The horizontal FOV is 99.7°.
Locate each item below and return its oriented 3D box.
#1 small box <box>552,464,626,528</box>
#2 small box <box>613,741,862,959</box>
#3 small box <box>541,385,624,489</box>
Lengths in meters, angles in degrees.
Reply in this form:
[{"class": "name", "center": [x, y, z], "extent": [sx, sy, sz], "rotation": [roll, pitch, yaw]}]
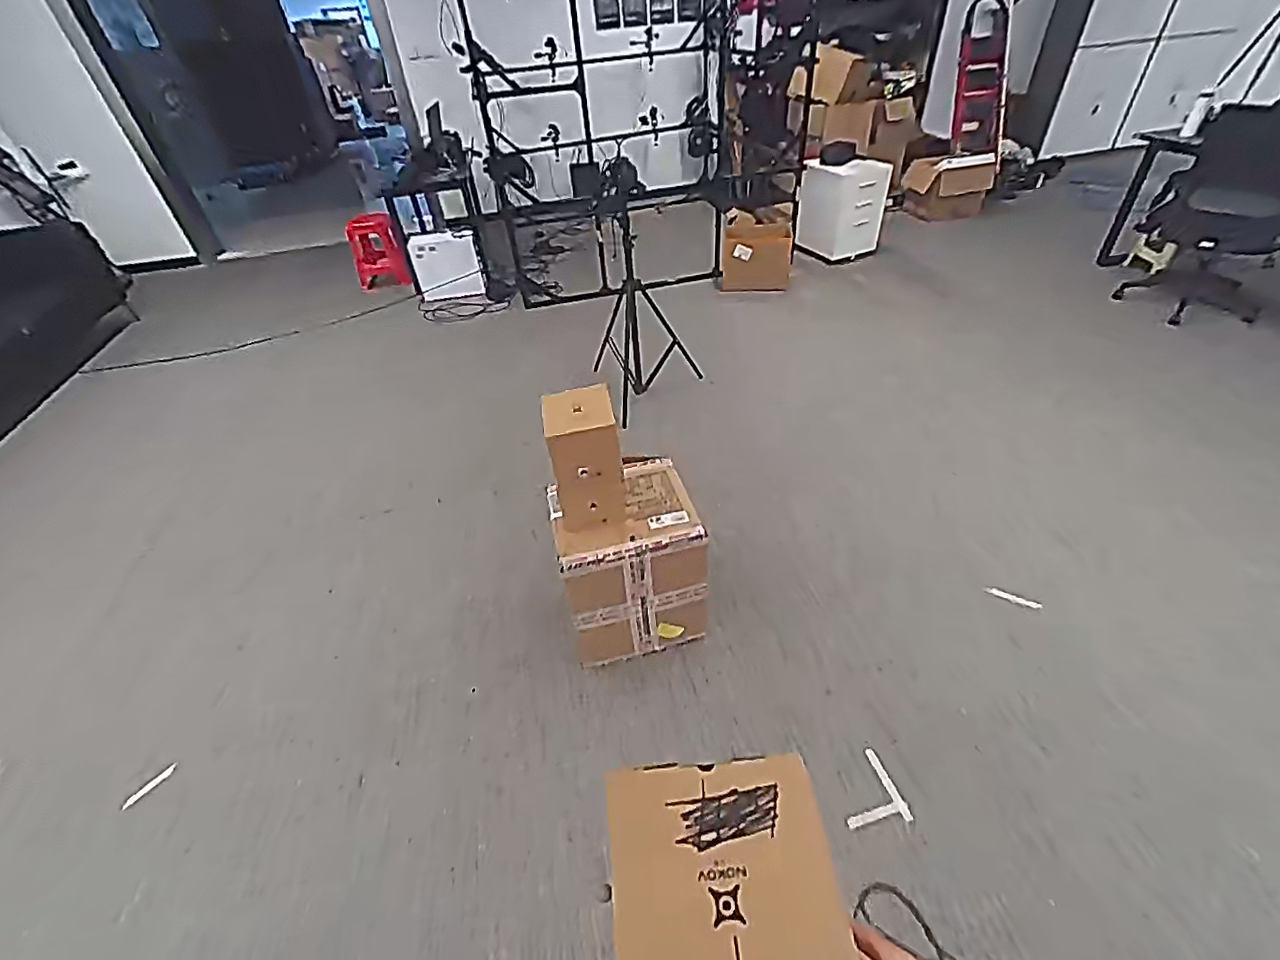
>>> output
[{"class": "small box", "center": [-0.137, 0.011, 1.443], "extent": [0.168, 0.176, 0.179], "rotation": [-12, 44, -5]}, {"class": "small box", "center": [0.062, 0.343, 0.449], "extent": [0.168, 0.176, 0.179], "rotation": [-3, 45, -4]}, {"class": "small box", "center": [-0.141, -0.105, 1.328], "extent": [0.168, 0.176, 0.179], "rotation": [-12, 44, -4]}]
